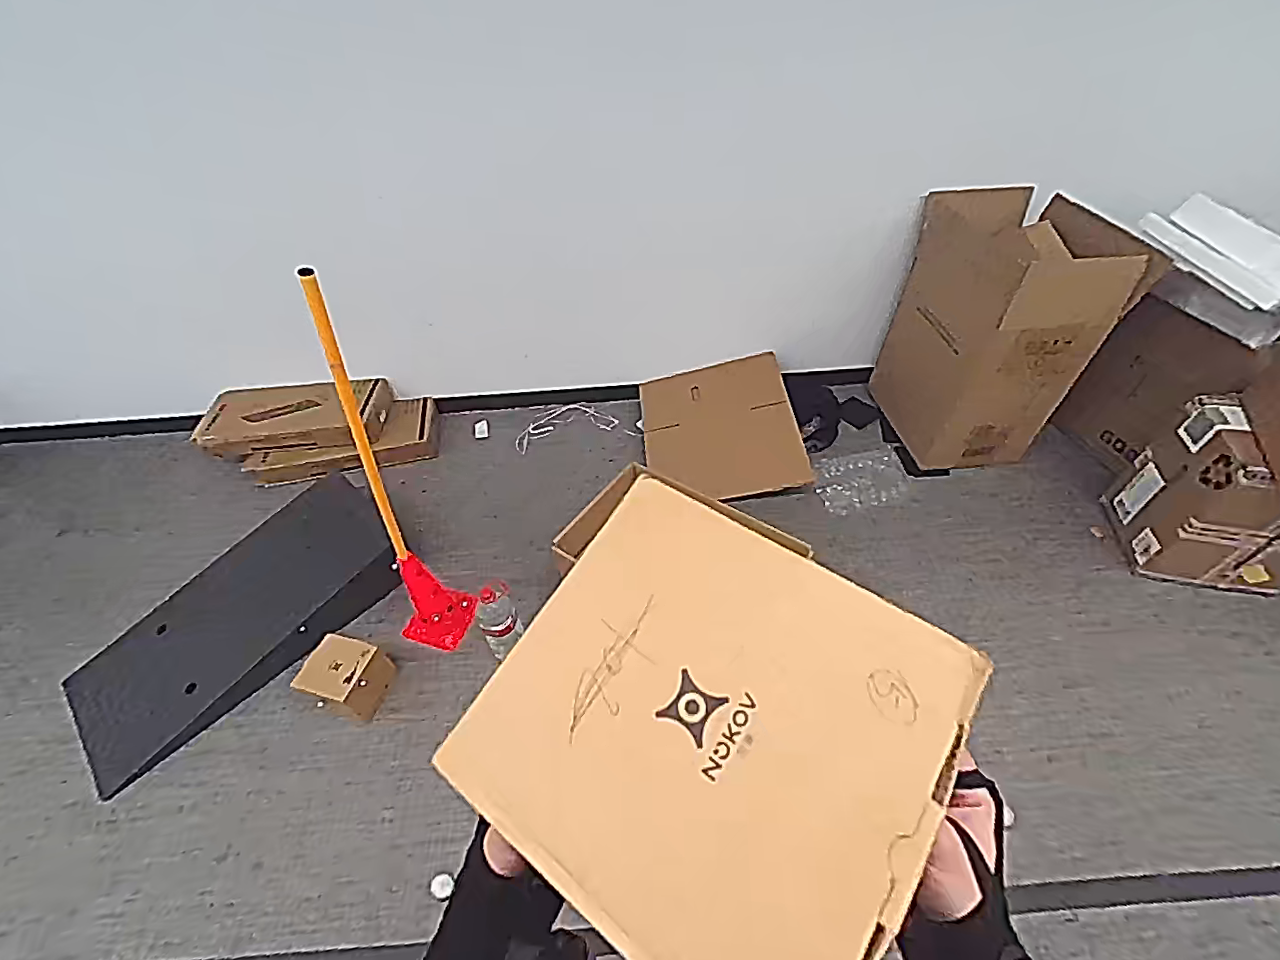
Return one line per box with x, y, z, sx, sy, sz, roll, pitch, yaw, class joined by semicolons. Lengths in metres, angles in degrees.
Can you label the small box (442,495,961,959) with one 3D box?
0.037;0.142;0.306;0.179;0.176;0.168;27;69;24;small box
